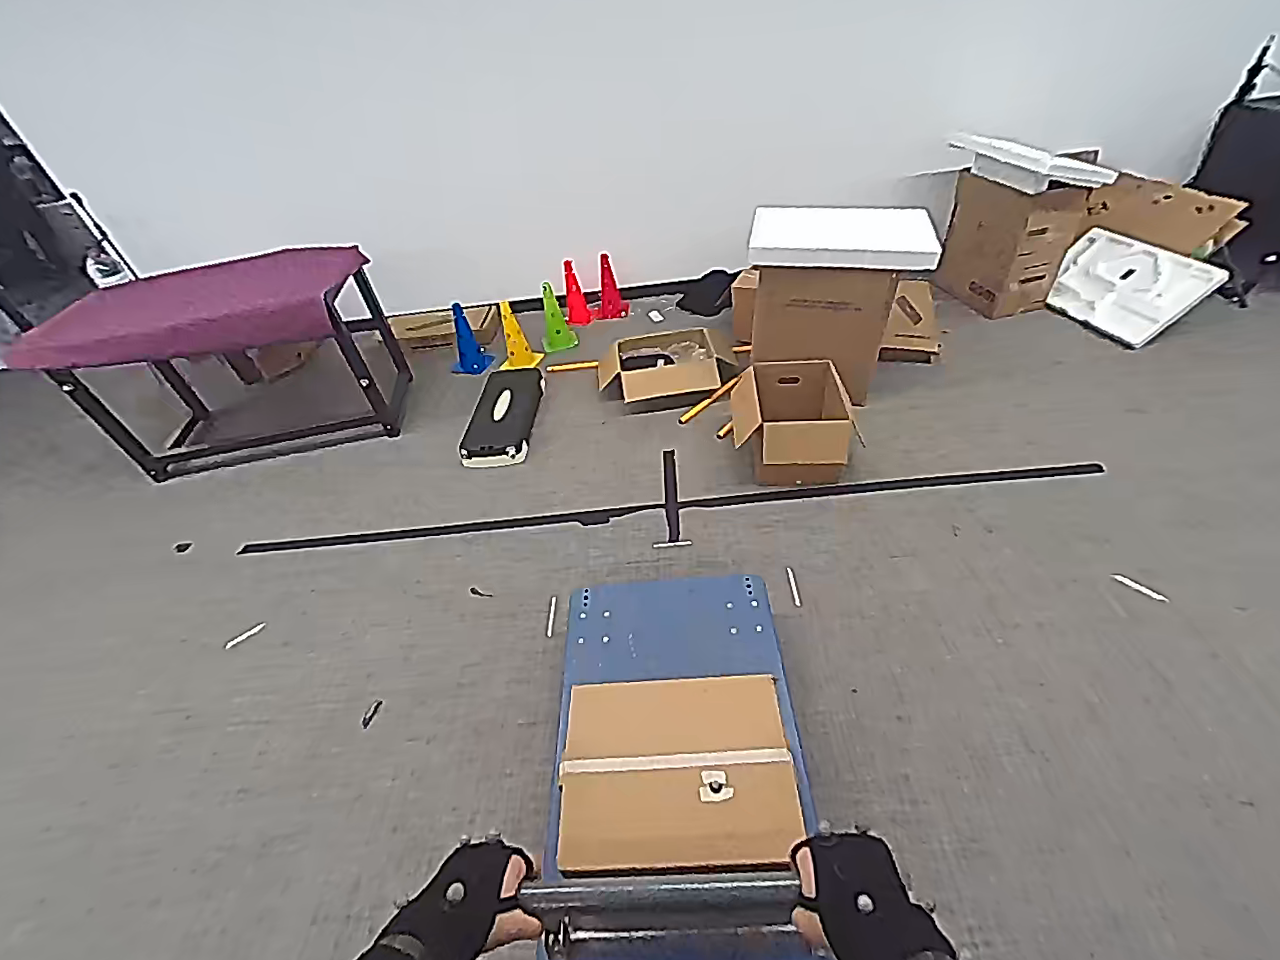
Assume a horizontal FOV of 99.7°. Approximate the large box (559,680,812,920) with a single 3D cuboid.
[{"bbox_3d":[0.077,0.617,1.043,0.408,0.320,0.320,-4,42,3],"label":"large box"}]
